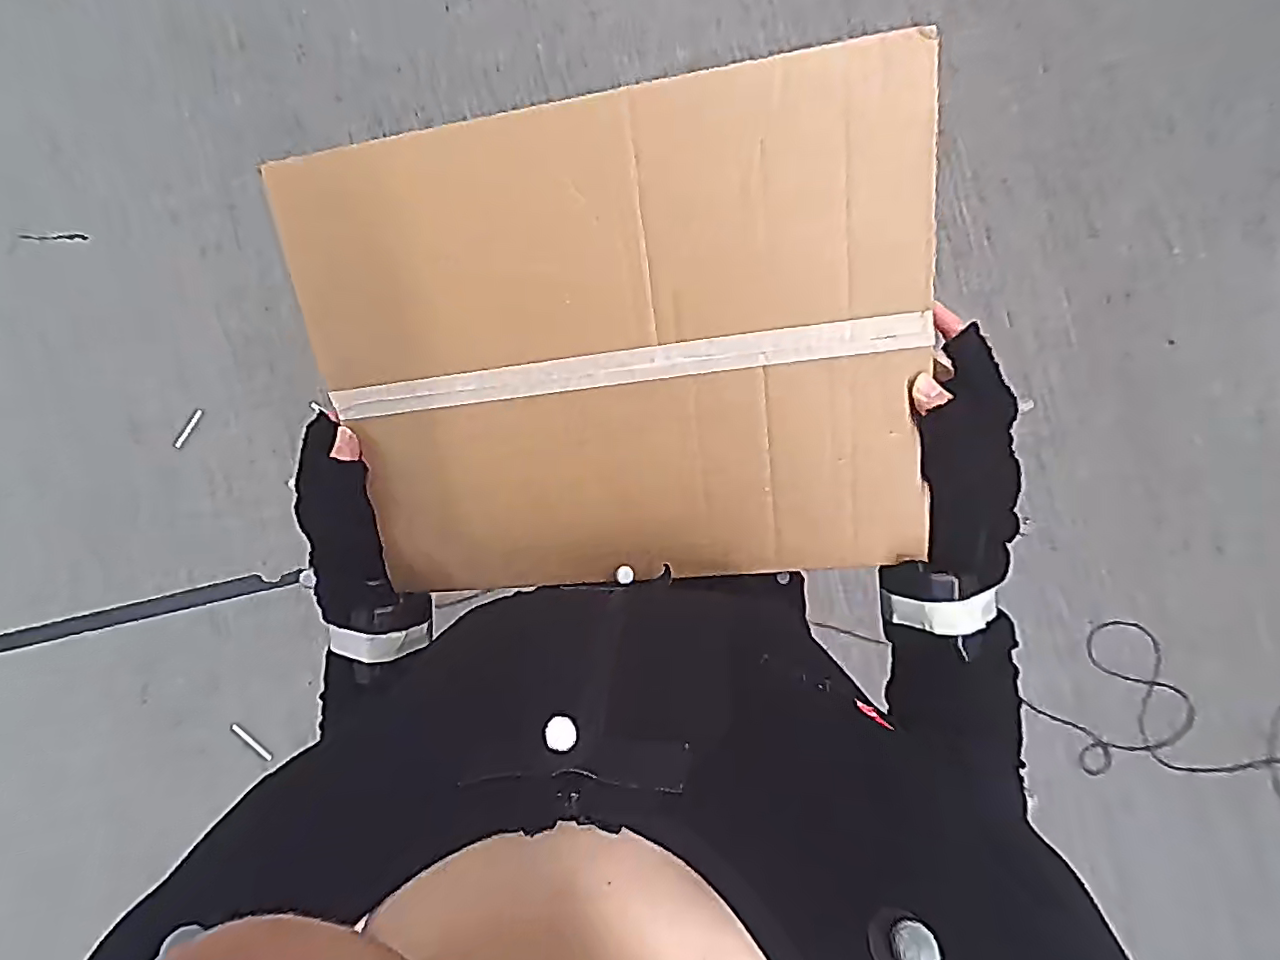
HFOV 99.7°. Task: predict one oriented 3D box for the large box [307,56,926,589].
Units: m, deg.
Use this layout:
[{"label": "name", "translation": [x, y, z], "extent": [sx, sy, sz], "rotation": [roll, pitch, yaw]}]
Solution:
[{"label": "large box", "translation": [0.004, -0.118, 0.517], "extent": [0.408, 0.320, 0.320], "rotation": [-5, 108, 9]}]
